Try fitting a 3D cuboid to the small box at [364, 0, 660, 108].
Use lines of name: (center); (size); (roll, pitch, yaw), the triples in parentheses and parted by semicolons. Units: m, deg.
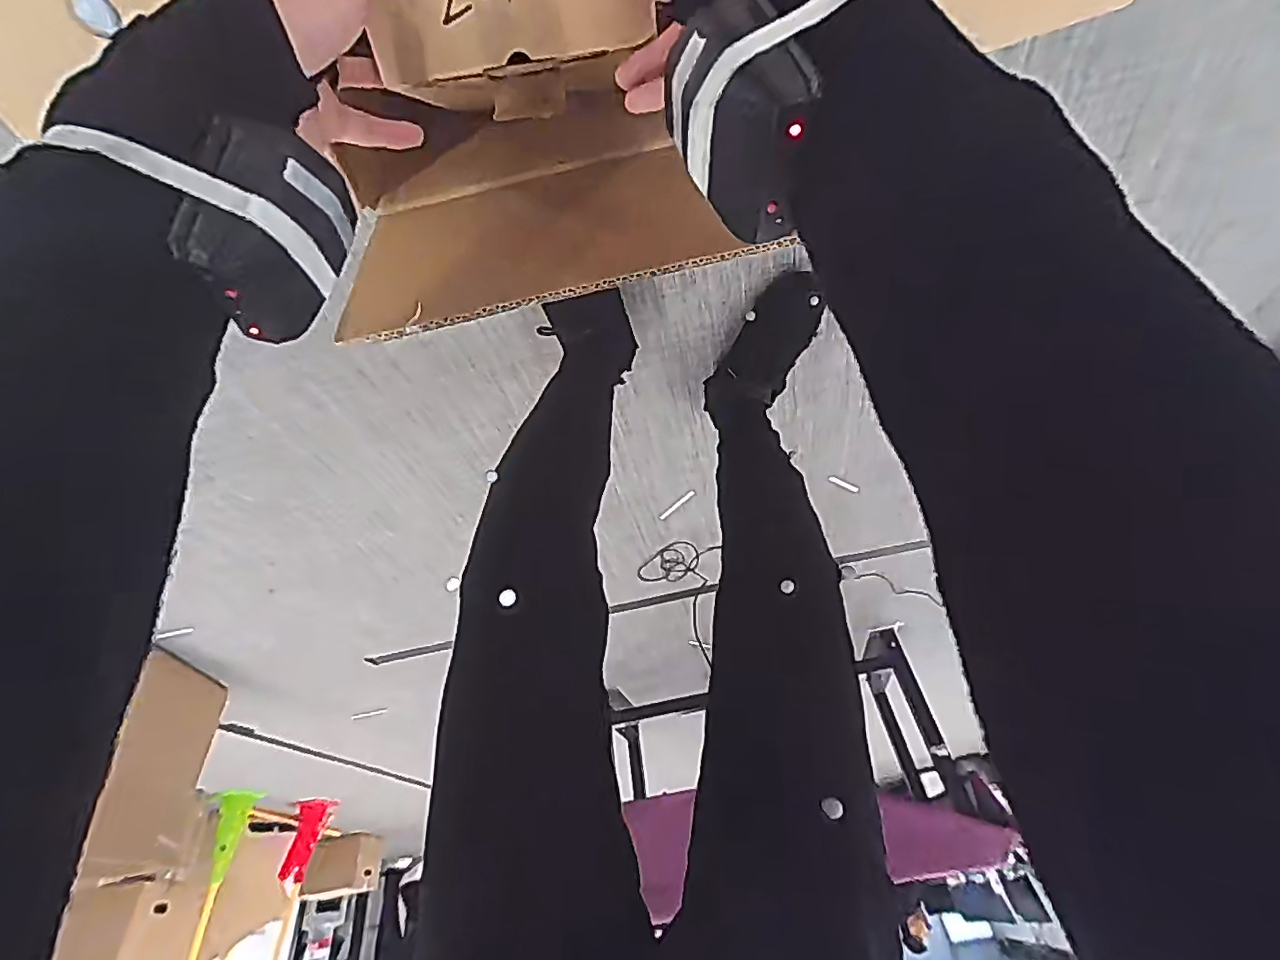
small box: (-0.082, -0.359, 0.343); (0.168, 0.176, 0.179); (-7, 121, 2)
